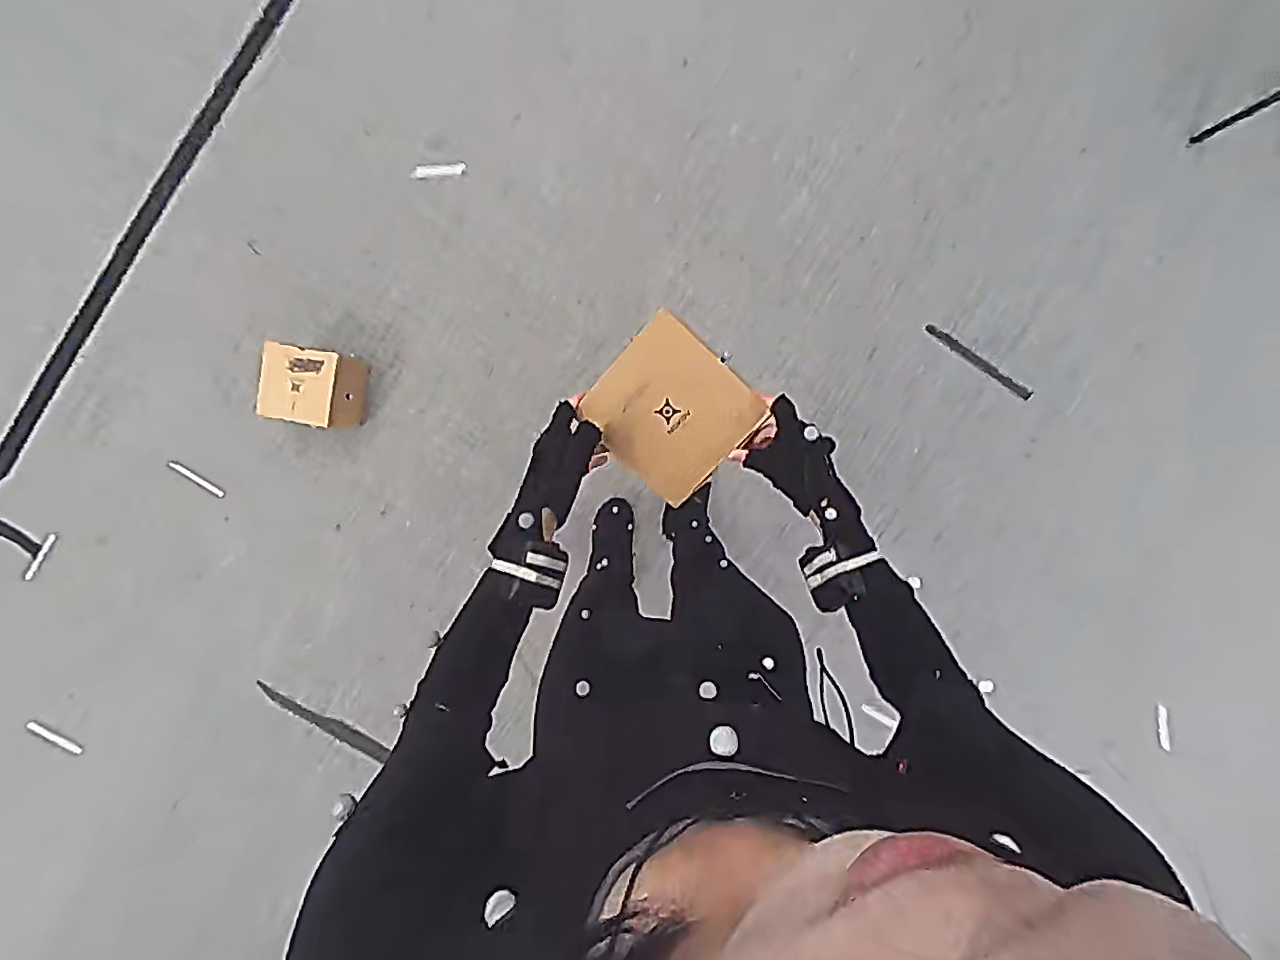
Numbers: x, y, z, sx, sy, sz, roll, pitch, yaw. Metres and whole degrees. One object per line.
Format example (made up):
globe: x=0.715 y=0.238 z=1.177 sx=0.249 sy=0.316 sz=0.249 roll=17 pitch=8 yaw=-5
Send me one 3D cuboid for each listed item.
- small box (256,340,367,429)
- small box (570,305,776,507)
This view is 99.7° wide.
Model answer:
small box: x=-0.791 y=-0.226 z=1.319 sx=0.168 sy=0.176 sz=0.179 roll=11 pitch=95 yaw=-4
small box: x=0.043 y=-0.102 z=0.684 sx=0.179 sy=0.176 sz=0.168 roll=42 pitch=106 yaw=-7
